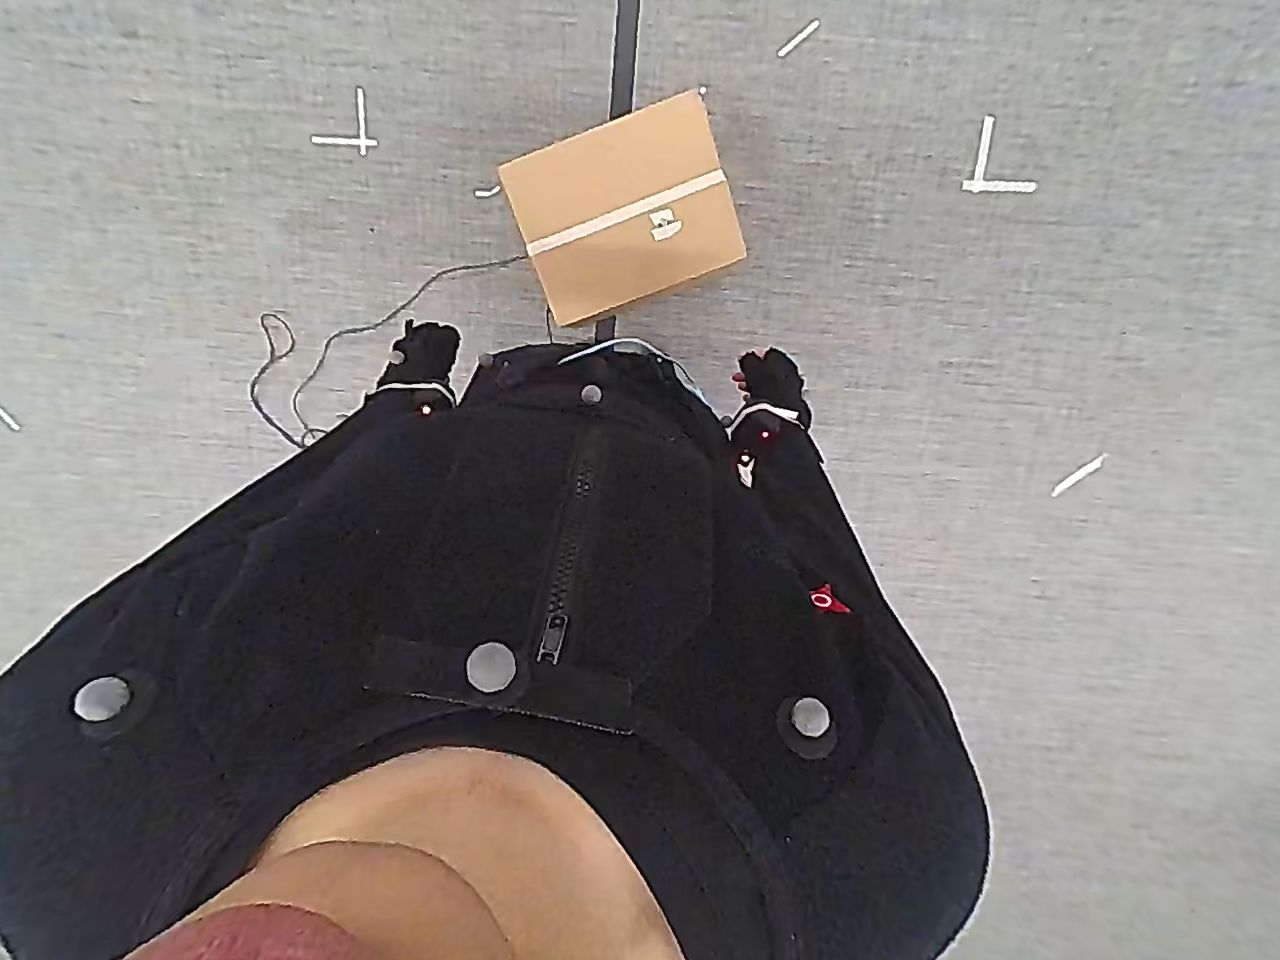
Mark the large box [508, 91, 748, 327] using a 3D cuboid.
[{"bbox_3d":[-0.023,-0.557,1.197,0.408,0.320,0.320,-19,105,3],"label":"large box"}]
